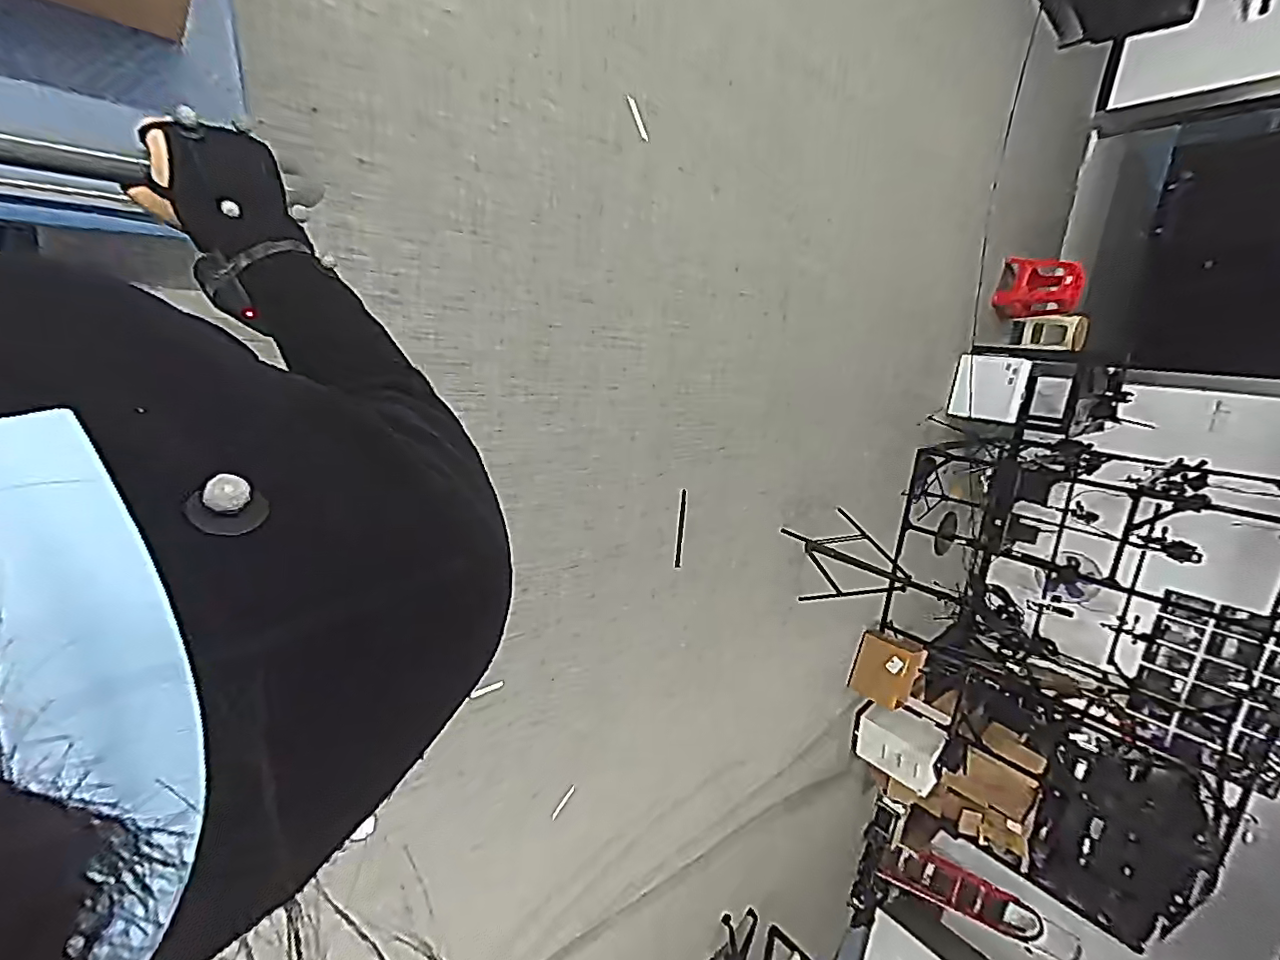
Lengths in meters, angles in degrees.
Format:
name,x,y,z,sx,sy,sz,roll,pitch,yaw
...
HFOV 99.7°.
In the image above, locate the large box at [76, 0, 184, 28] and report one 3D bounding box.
name,x,y,z,sx,sy,sz,roll,pitch,yaw
large box,-0.820,-0.835,0.638,0.408,0.320,0.320,-10,110,-40
